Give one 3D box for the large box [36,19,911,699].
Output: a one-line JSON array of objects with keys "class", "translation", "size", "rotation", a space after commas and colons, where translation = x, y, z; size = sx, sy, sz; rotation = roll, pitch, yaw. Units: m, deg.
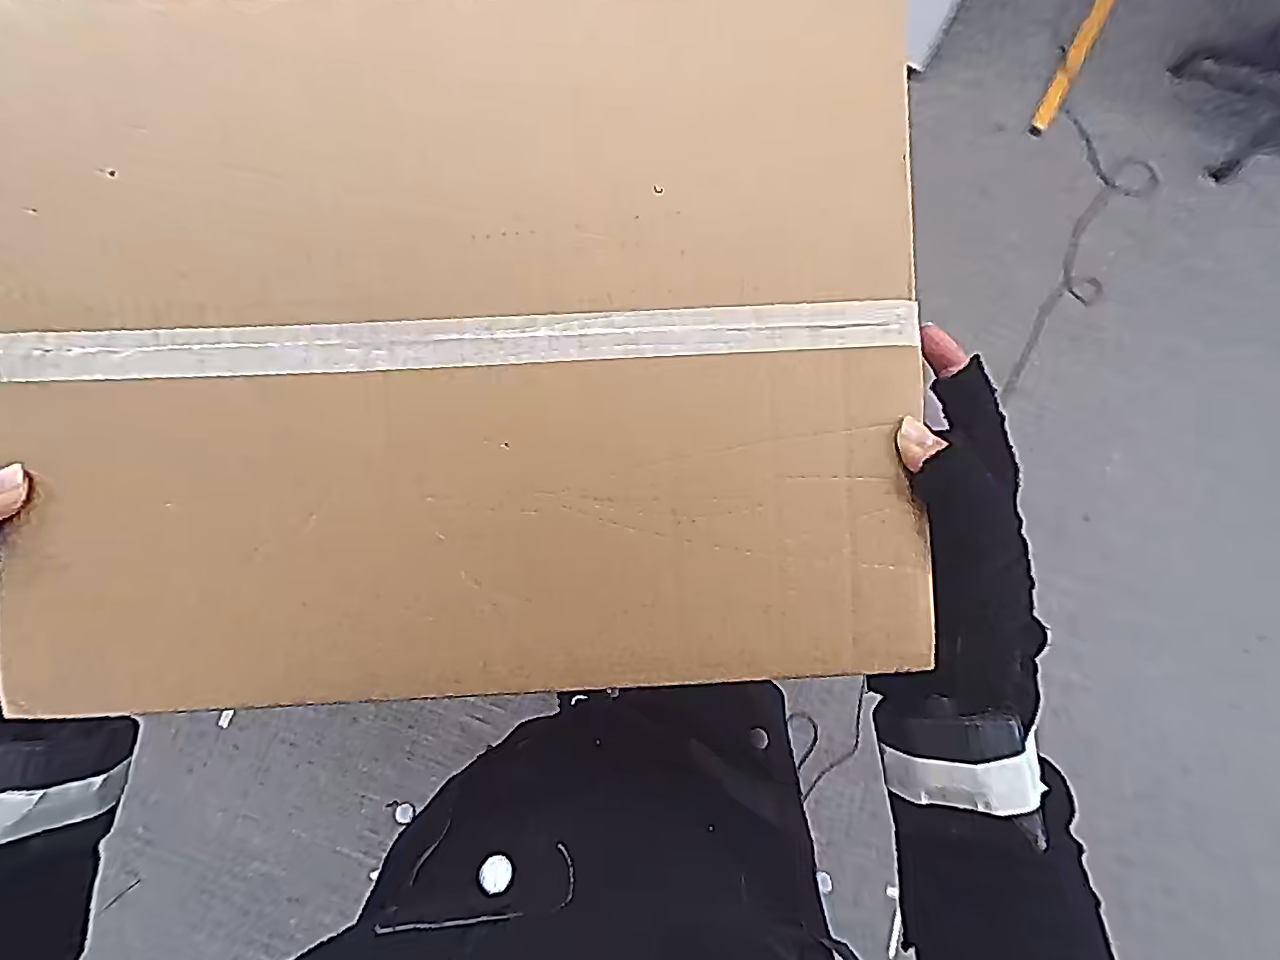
[{"class": "large box", "translation": [-0.075, -0.060, 0.401], "size": [0.408, 0.320, 0.320], "rotation": [-1, 89, -1]}]
